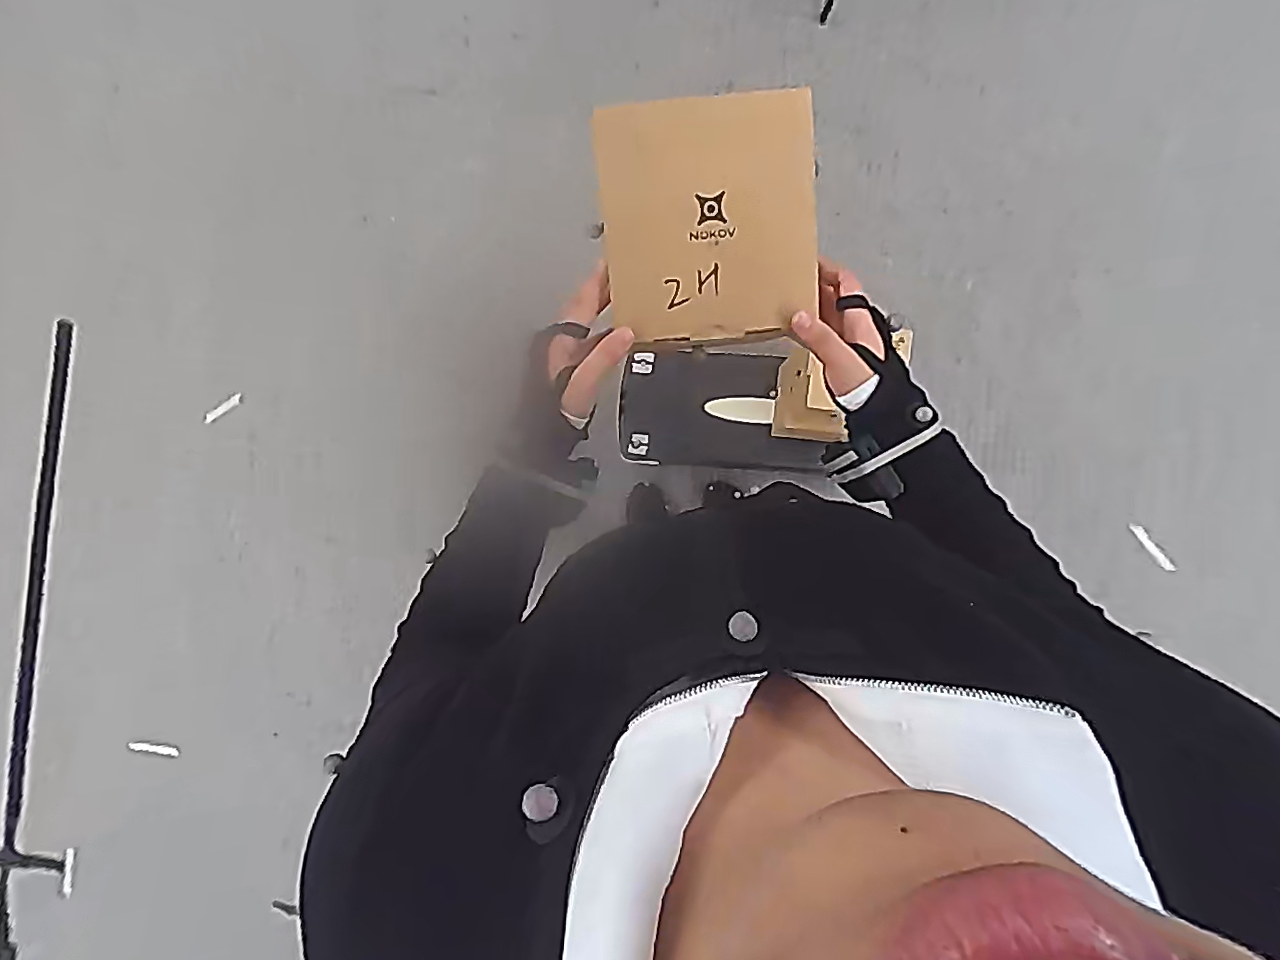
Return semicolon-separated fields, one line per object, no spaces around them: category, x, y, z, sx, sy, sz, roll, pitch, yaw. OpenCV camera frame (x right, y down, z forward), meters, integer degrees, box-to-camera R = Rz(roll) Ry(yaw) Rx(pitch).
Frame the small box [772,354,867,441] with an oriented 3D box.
small box;0.401;-0.177;1.217;0.179;0.176;0.168;6;89;4

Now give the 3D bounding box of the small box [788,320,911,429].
small box;0.396;-0.198;1.054;0.179;0.176;0.168;8;89;4

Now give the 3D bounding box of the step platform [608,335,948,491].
step platform;0.279;-0.137;1.186;0.684;0.204;0.286;4;89;3
